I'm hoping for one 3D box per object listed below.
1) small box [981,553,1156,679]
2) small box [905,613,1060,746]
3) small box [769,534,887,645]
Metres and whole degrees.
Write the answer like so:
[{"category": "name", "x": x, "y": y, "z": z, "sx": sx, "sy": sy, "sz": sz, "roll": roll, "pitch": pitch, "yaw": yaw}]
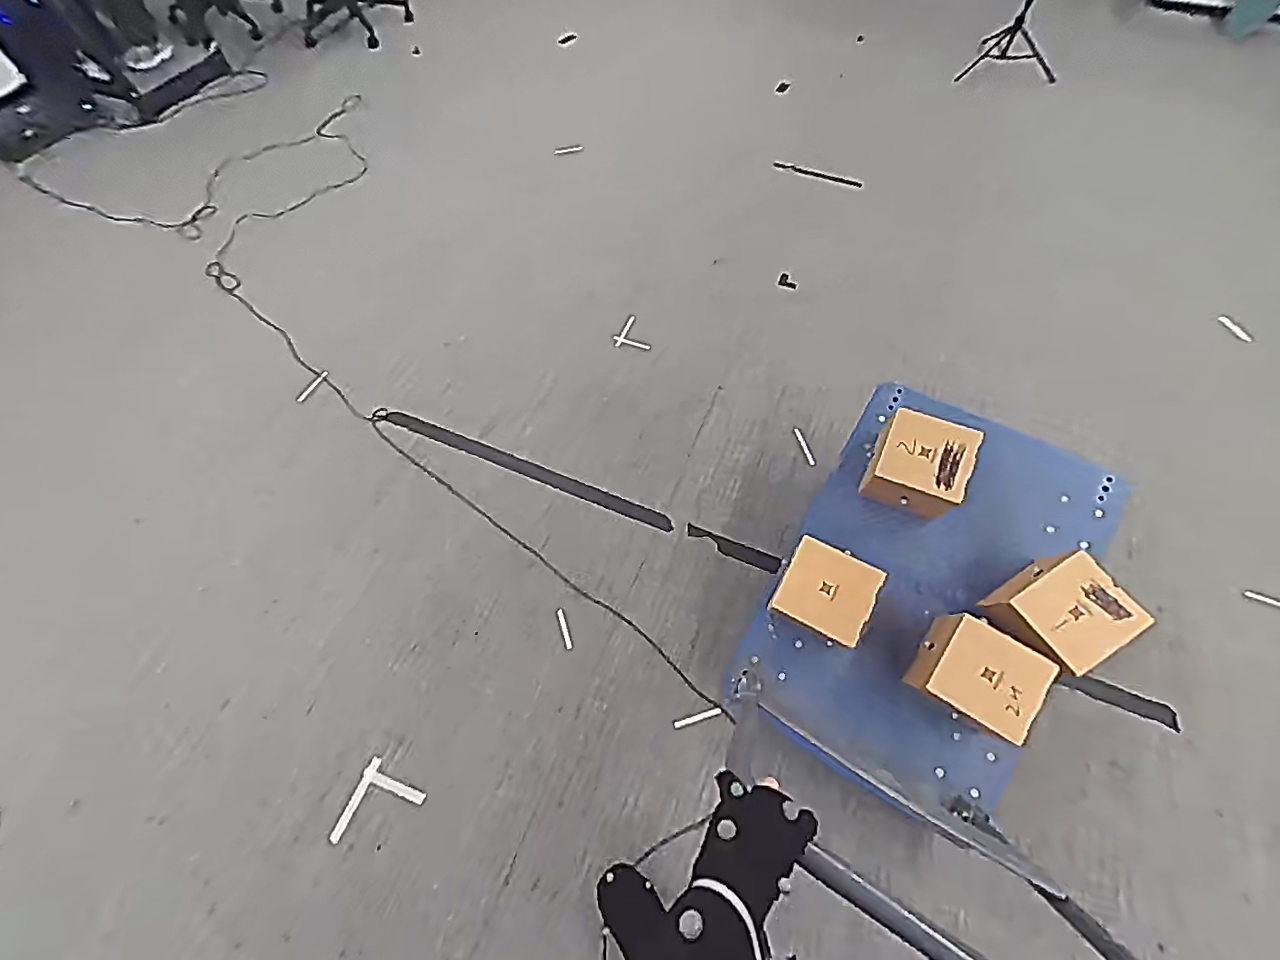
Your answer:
[{"category": "small box", "x": 0.824, "y": 0.266, "z": 1.064, "sx": 0.179, "sy": 0.176, "sz": 0.168, "roll": -34, "pitch": 71, "yaw": 0}, {"category": "small box", "x": 0.655, "y": 0.384, "z": 1.061, "sx": 0.179, "sy": 0.176, "sz": 0.168, "roll": 33, "pitch": 82, "yaw": 17}, {"category": "small box", "x": 0.389, "y": 0.239, "z": 1.154, "sx": 0.179, "sy": 0.176, "sz": 0.168, "roll": 27, "pitch": 80, "yaw": 15}]
